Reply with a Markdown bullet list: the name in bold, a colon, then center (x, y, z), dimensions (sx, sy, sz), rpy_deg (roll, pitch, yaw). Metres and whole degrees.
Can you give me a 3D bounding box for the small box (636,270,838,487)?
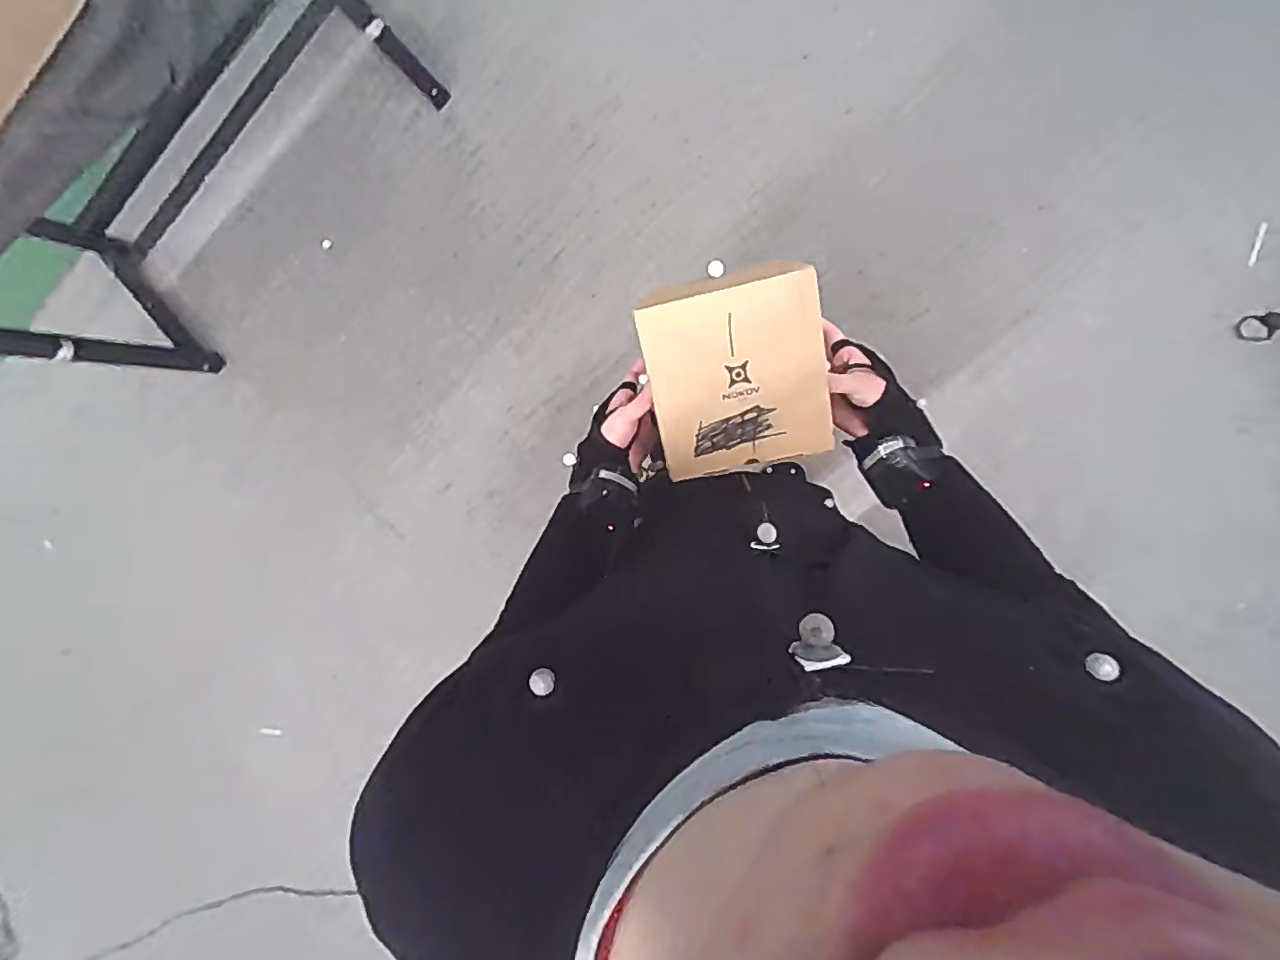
- **small box**: center (0.099, -0.116, 0.583), dimensions (0.168, 0.176, 0.179), rpy_deg (-13, 111, 7)
